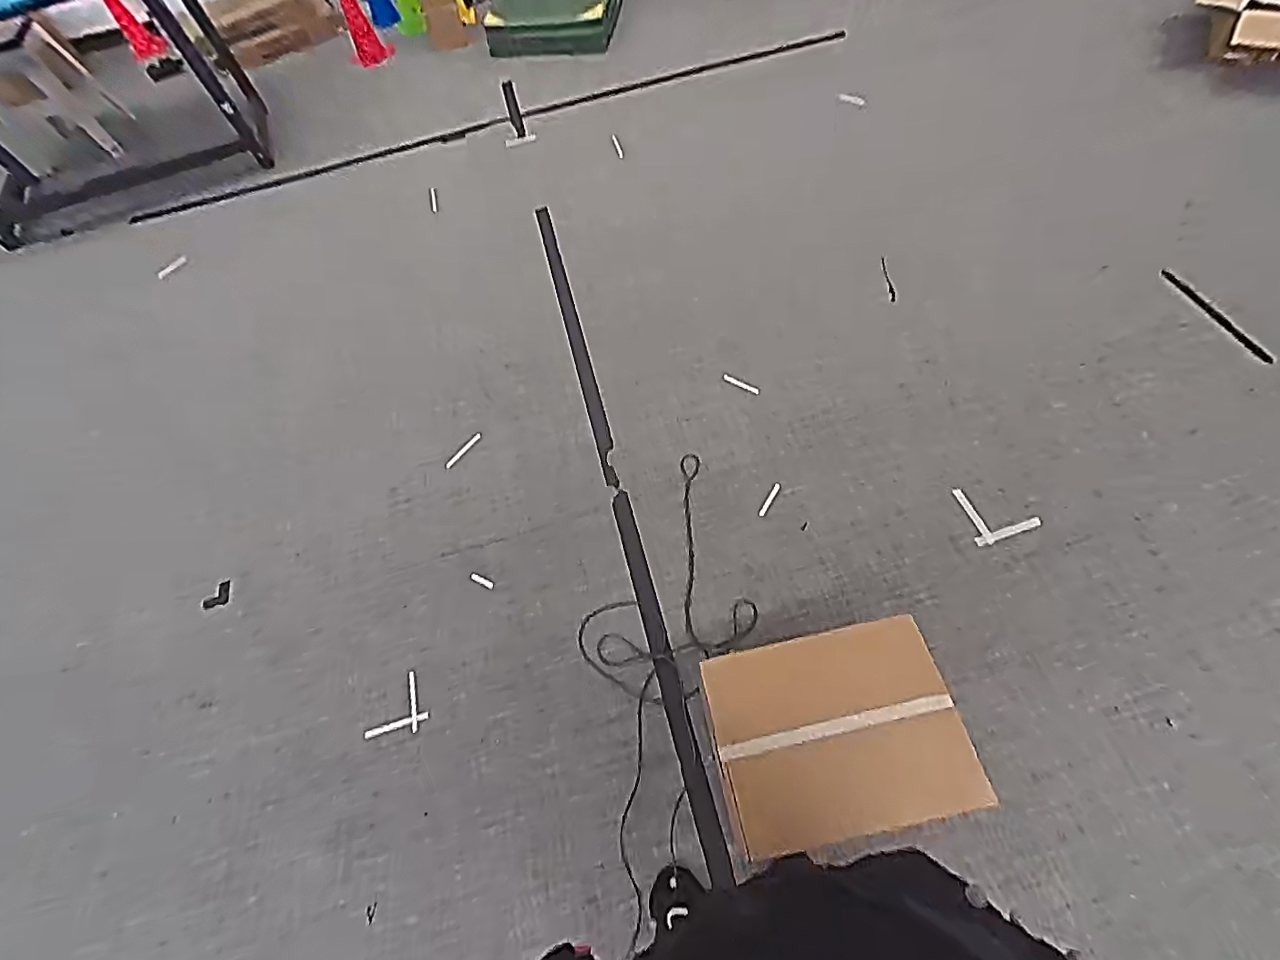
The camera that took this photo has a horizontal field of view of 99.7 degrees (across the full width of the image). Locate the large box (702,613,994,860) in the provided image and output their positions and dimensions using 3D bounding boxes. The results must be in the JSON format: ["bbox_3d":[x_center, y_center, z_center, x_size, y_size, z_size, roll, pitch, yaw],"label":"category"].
[{"bbox_3d":[0.354,0.494,1.053,0.408,0.320,0.320,-13,61,-1],"label":"large box"}]
